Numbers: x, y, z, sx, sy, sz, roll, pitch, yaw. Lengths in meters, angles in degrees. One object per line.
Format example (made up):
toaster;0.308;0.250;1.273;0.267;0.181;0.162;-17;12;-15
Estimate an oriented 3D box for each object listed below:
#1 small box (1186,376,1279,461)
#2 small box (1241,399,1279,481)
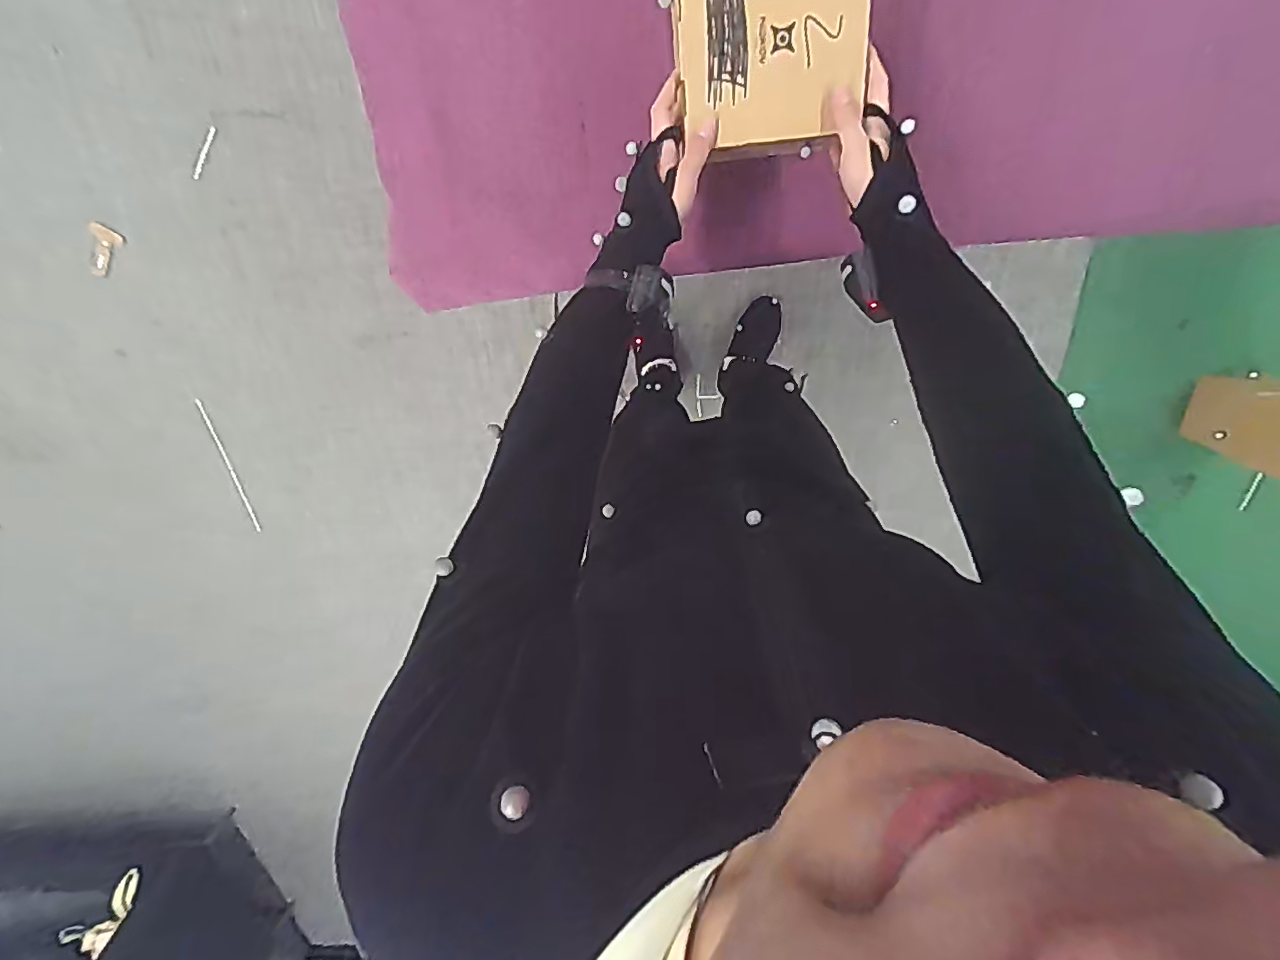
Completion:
small box;1.619;-0.166;1.429;0.168;0.176;0.179;-3;116;4
small box;1.614;-0.089;1.286;0.168;0.176;0.179;-5;115;6
